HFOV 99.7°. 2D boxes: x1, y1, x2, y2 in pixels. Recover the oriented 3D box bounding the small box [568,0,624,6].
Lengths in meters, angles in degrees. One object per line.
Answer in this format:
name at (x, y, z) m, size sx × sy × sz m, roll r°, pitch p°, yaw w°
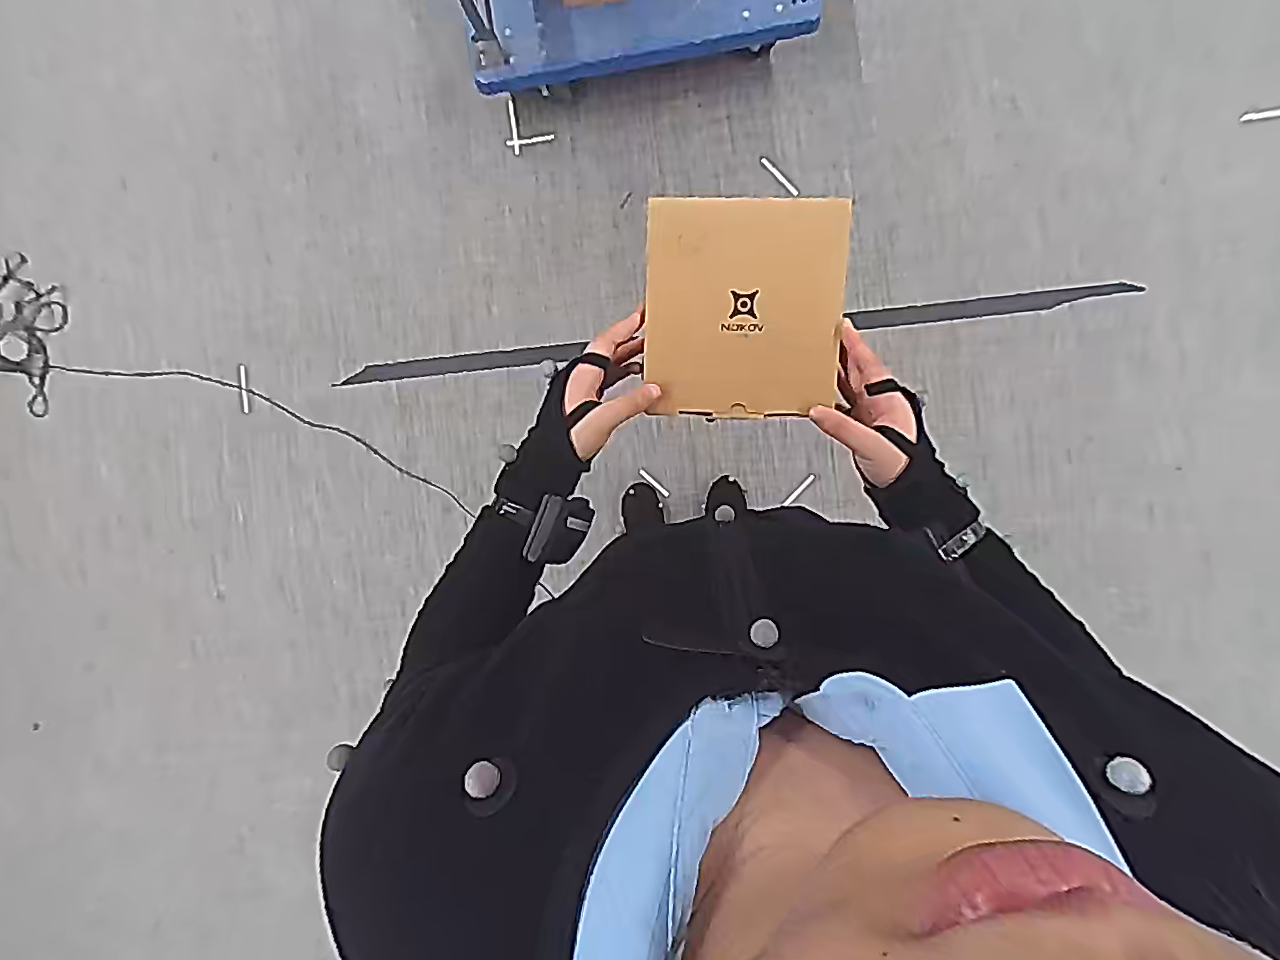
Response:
small box at (-0.110, -1.246, 1.233) m, size 0.168 × 0.176 × 0.179 m, roll -4°, pitch 91°, yaw 4°
